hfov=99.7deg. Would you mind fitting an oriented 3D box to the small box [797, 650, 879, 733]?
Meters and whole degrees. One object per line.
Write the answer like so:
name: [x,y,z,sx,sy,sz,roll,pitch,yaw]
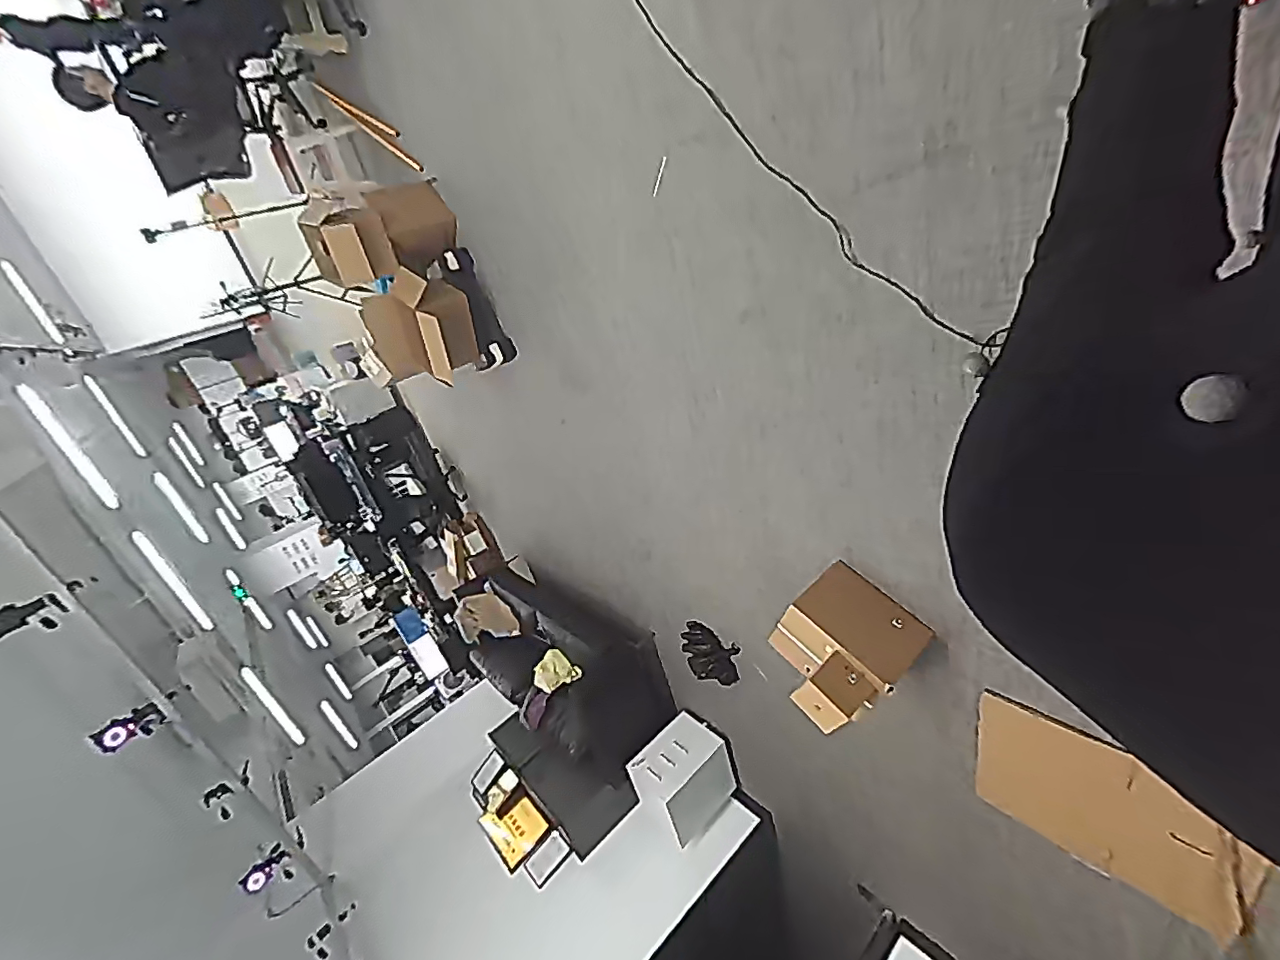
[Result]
small box: [0.671,0.711,1.826,0.168,0.176,0.179,43,145,24]
